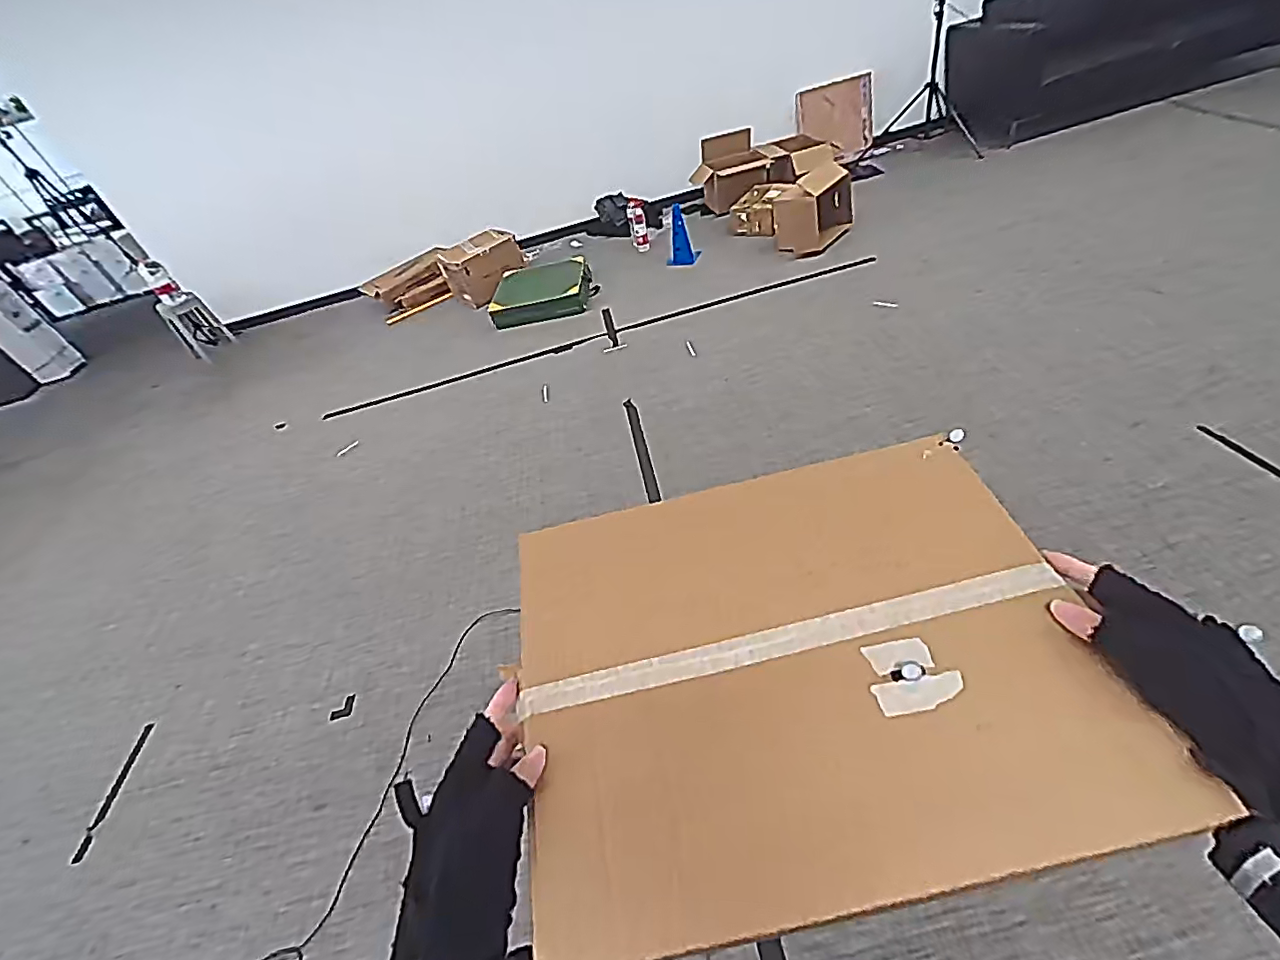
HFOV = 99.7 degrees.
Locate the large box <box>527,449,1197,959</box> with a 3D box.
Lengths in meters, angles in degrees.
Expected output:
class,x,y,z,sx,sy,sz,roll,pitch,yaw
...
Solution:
class,x,y,z,sx,sy,sz,roll,pitch,yaw
large box,0.133,0.224,0.525,0.408,0.320,0.320,-13,49,-1
